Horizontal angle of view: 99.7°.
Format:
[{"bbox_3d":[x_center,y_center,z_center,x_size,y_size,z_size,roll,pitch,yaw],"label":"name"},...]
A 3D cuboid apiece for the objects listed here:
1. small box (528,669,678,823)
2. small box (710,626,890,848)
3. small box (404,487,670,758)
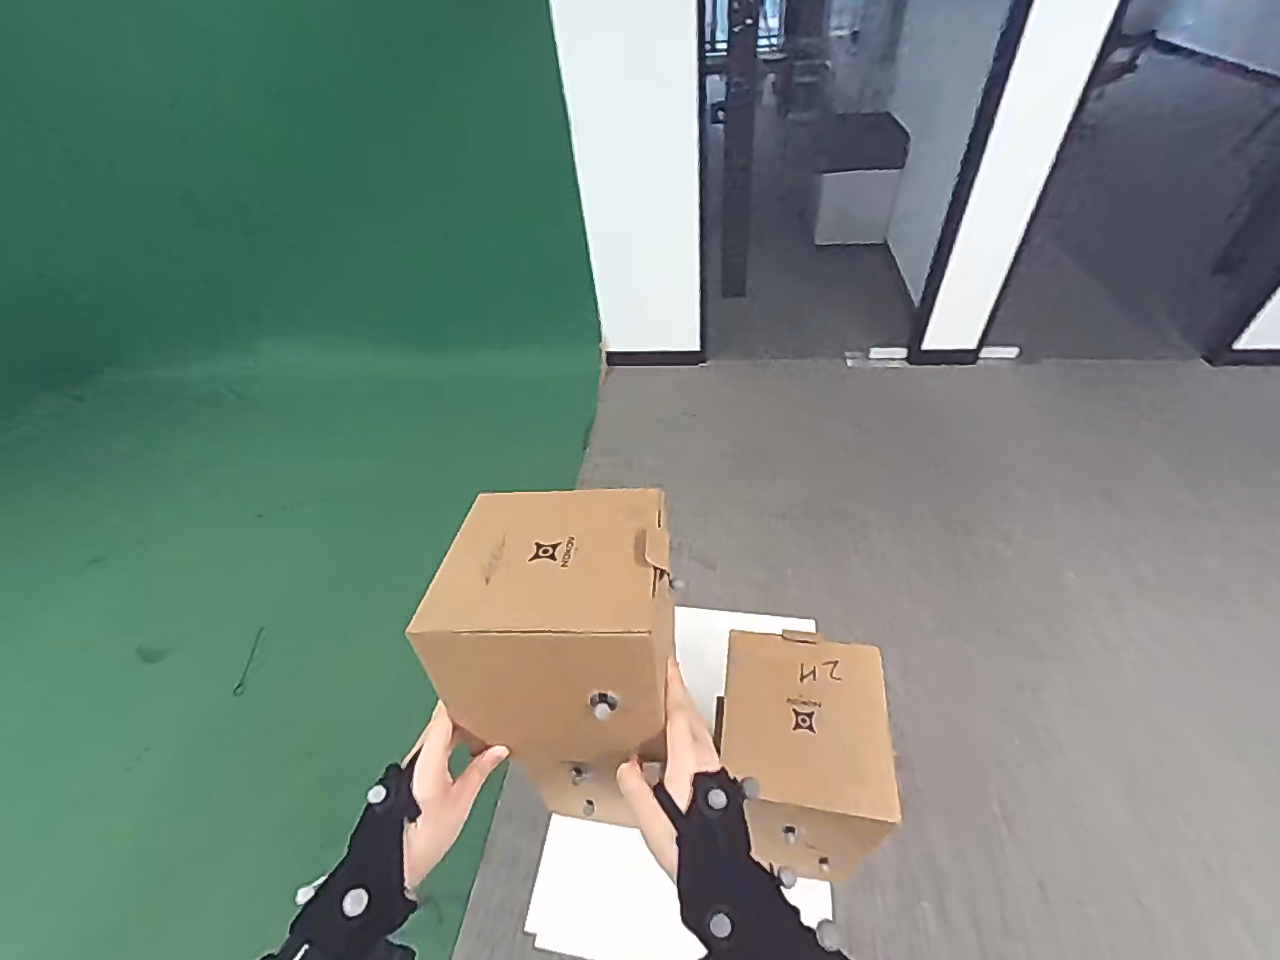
[{"bbox_3d":[-0.042,0.378,0.785,0.179,0.176,0.168,4,48,8],"label":"small box"},{"bbox_3d":[0.171,0.293,0.614,0.168,0.176,0.179,4,47,11],"label":"small box"},{"bbox_3d":[-0.066,0.123,0.478,0.179,0.176,0.168,-3,34,7],"label":"small box"}]
